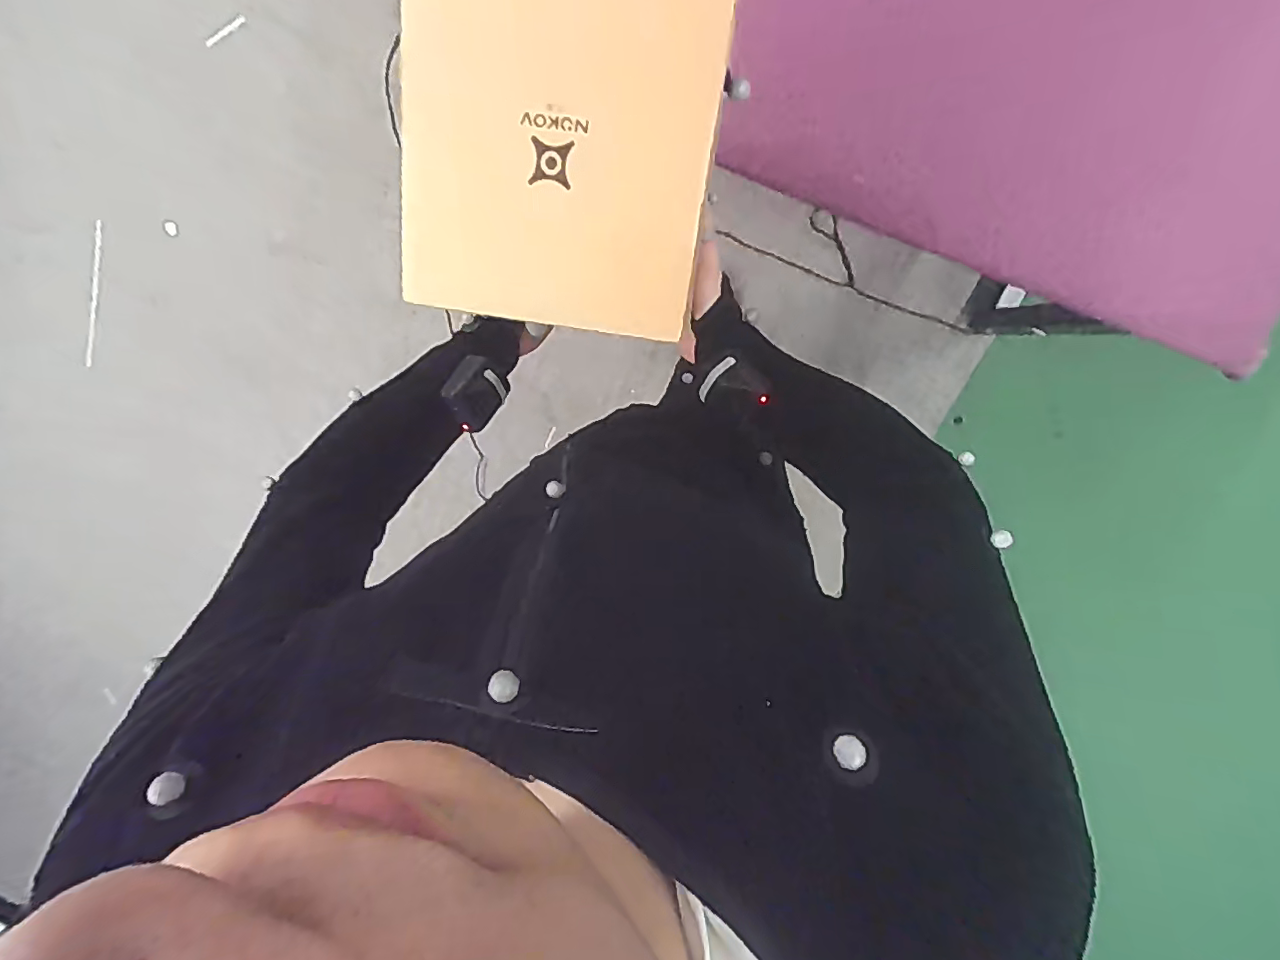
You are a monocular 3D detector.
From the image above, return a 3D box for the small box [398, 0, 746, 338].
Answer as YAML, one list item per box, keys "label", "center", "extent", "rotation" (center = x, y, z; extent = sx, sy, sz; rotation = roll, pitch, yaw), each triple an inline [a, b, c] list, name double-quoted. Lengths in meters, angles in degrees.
- label: "small box"
  center: [-0.033, -0.197, 0.347]
  extent: [0.168, 0.176, 0.179]
  rotation: [10, 109, 2]
